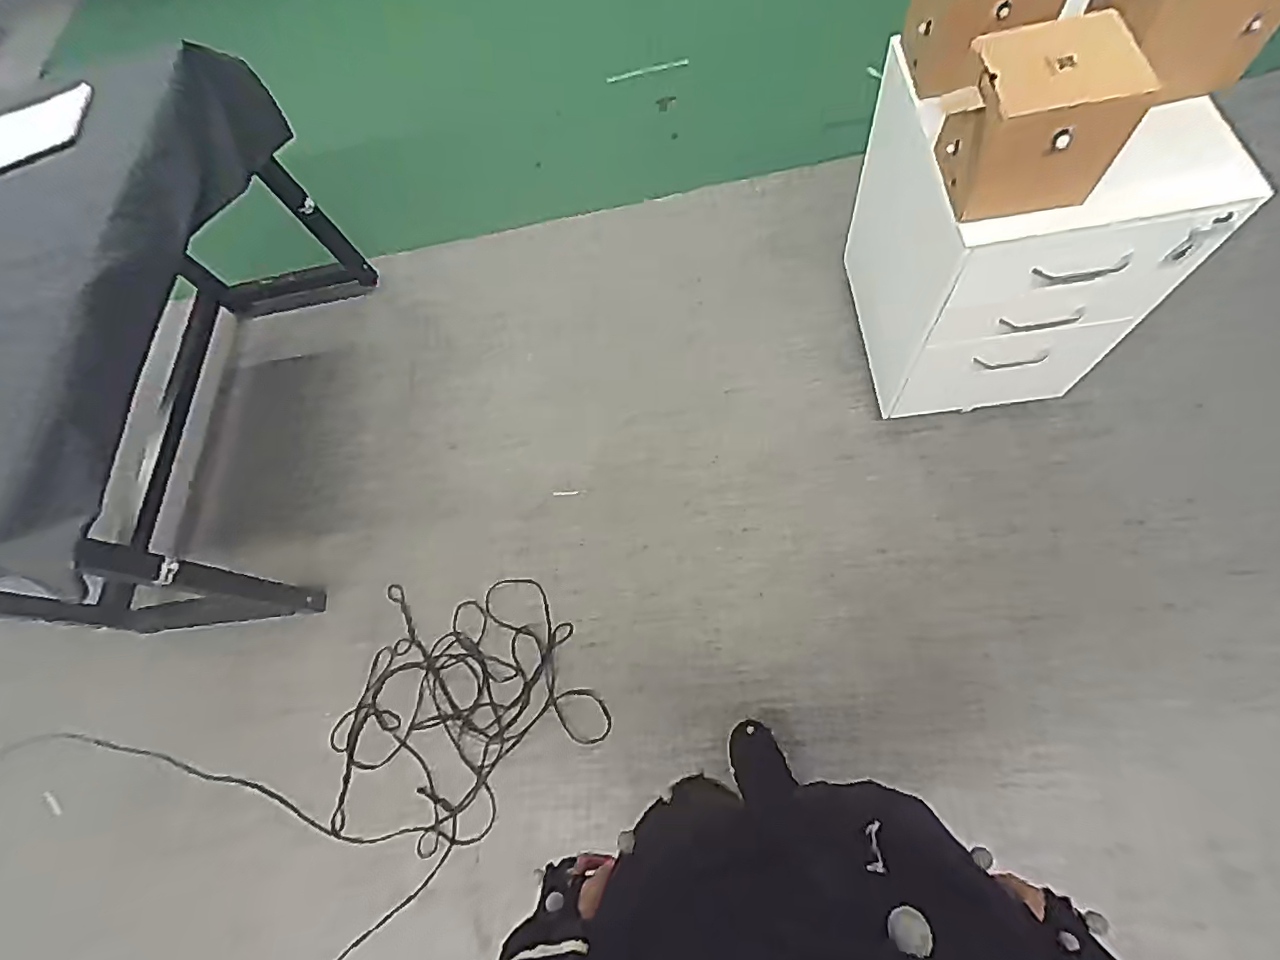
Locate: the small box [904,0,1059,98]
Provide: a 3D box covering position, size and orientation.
[{"bbox_3d":[0.542,-0.754,0.866,0.179,0.176,0.168,-5,69,8],"label":"small box"}]

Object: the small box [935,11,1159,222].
[{"bbox_3d":[0.550,-0.498,0.761,0.179,0.176,0.168,-6,67,9],"label":"small box"}]
